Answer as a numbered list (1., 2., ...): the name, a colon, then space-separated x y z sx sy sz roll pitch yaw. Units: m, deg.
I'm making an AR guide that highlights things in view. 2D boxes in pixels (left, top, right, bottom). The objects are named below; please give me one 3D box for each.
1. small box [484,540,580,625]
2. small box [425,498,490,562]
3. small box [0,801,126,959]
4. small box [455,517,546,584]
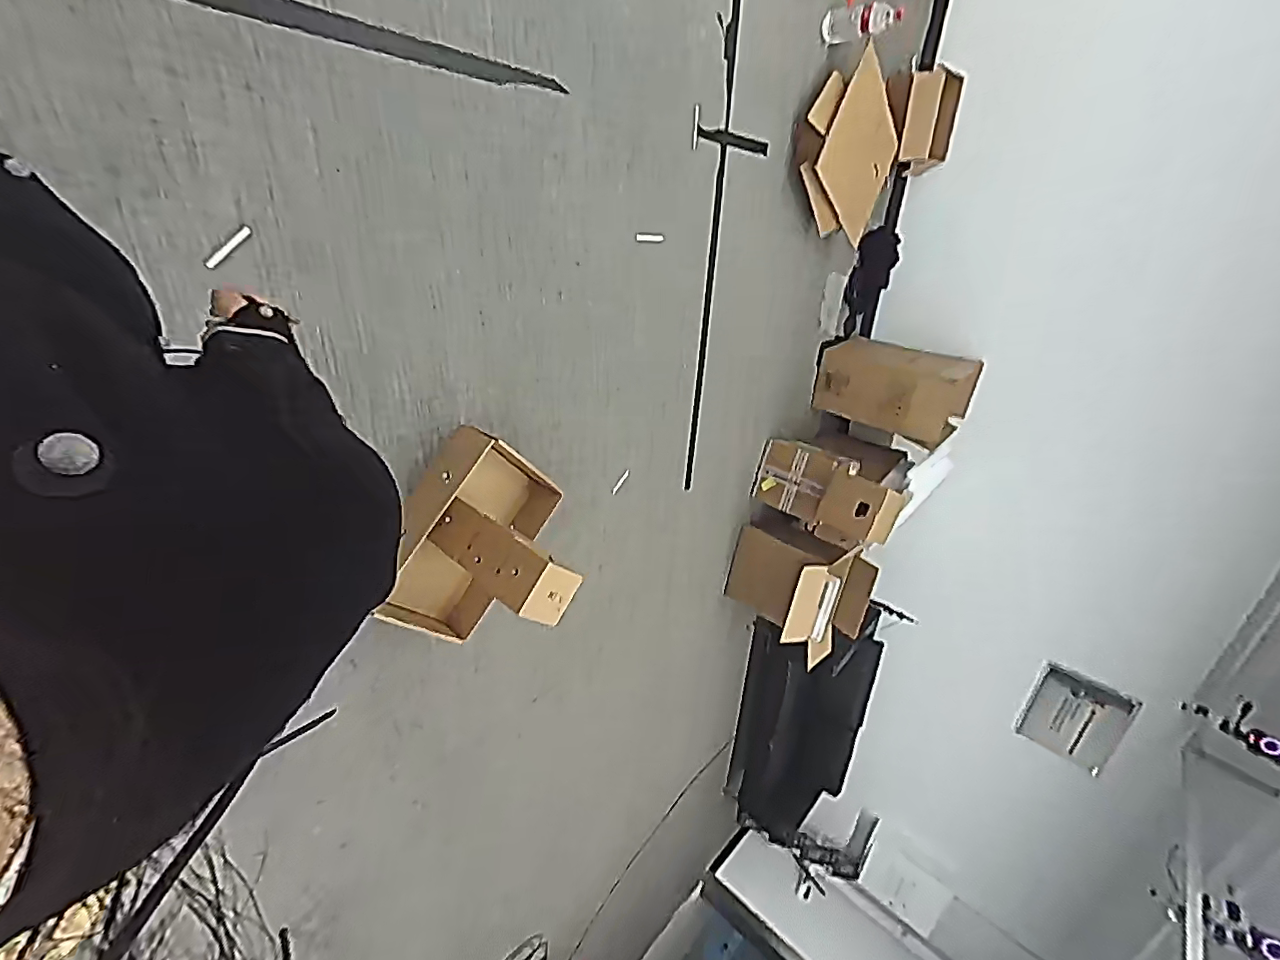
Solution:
1. small box: -0.315 0.293 1.566 0.168 0.176 0.179 -59 143 -6
2. small box: -0.556 0.181 1.758 0.168 0.176 0.179 -57 143 -11
3. small box: -0.934 0.611 0.802 0.179 0.176 0.168 -55 142 -15
4. small box: -0.432 0.232 1.667 0.168 0.176 0.179 -59 145 -6
